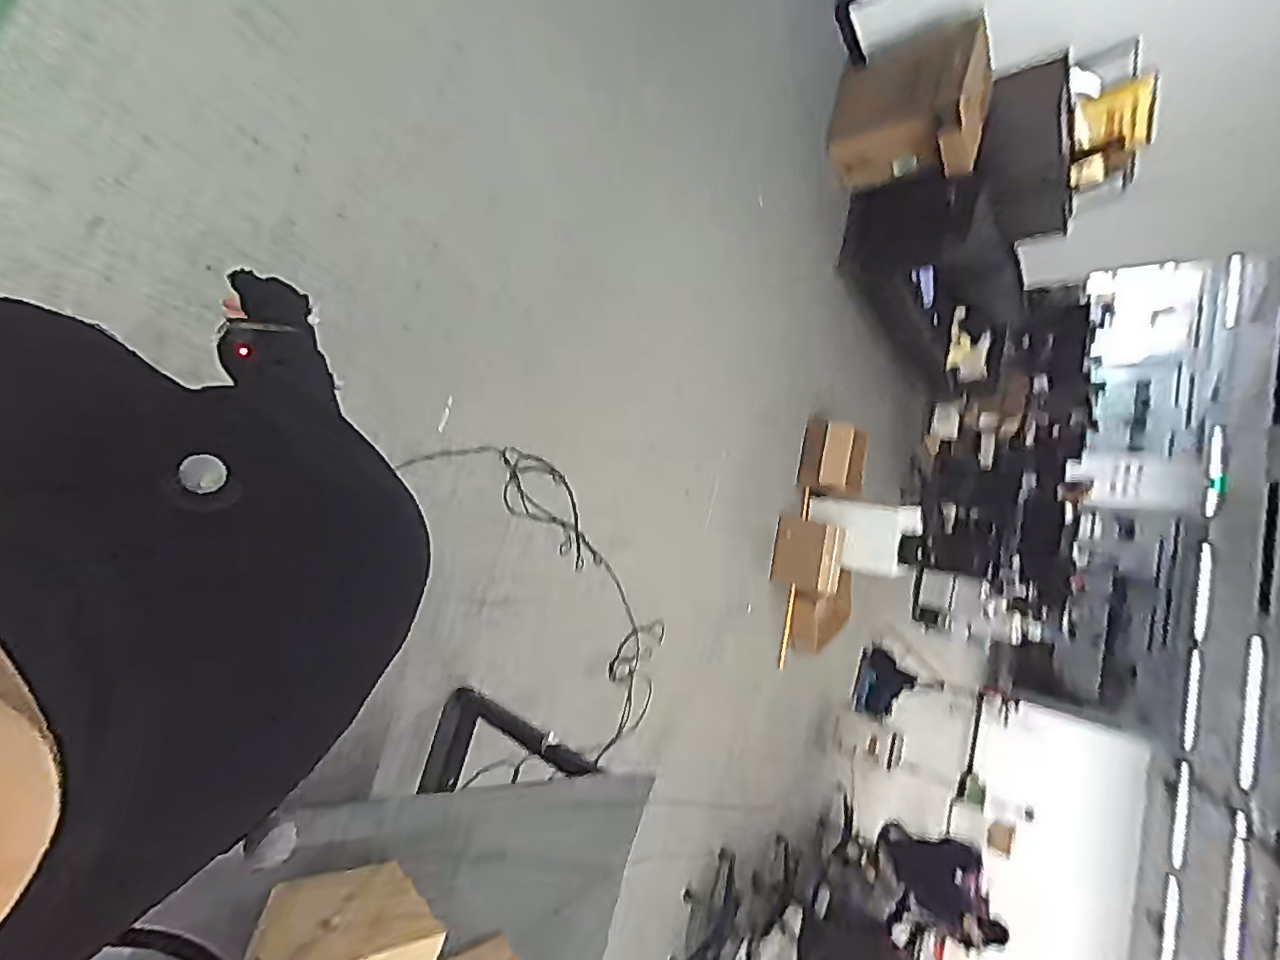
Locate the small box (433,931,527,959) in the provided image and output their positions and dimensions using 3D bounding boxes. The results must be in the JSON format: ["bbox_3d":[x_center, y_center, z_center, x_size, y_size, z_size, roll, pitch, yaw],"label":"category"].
[{"bbox_3d":[-0.281,0.920,0.908,0.179,0.176,0.168,23,79,-48],"label":"small box"}]
